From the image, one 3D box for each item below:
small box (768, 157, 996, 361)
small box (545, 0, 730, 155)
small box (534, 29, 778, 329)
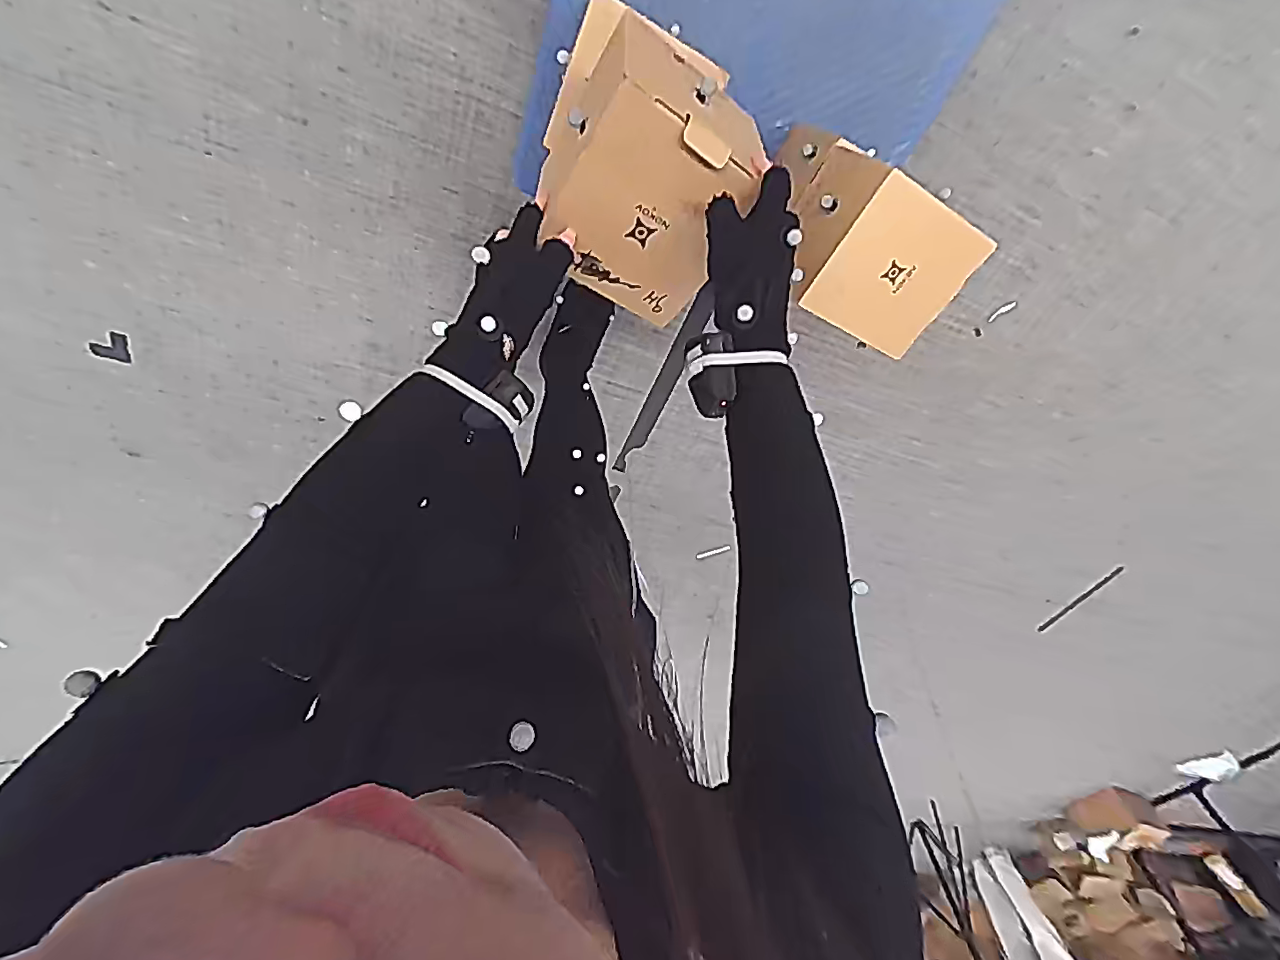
[{"bbox_3d":[0.294,-0.289,0.699,0.179,0.176,0.168,19,125,-22],"label":"small box"},{"bbox_3d":[-0.011,-0.488,0.711,0.179,0.176,0.168,19,125,-19],"label":"small box"},{"bbox_3d":[0.008,-0.298,0.548,0.168,0.176,0.179,22,137,-27],"label":"small box"}]
